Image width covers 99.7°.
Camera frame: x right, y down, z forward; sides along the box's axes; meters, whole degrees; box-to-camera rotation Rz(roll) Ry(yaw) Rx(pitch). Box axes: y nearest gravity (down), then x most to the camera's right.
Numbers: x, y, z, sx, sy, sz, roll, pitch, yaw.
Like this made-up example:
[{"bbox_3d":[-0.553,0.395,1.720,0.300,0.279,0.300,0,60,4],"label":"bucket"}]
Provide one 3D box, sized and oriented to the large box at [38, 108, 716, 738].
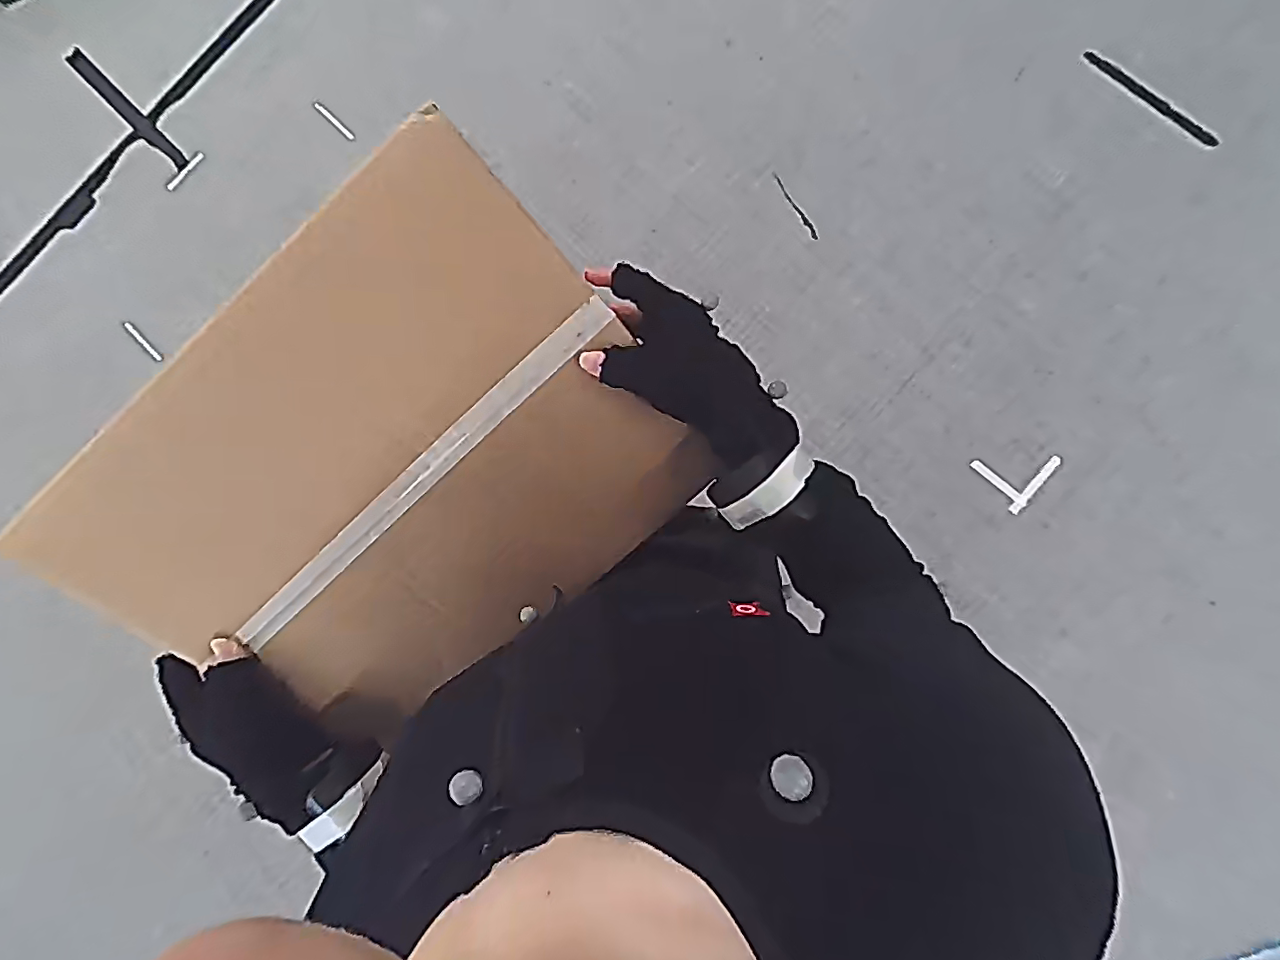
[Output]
[{"bbox_3d":[-0.204,-0.048,0.544,0.408,0.320,0.320,-41,113,6],"label":"large box"}]
